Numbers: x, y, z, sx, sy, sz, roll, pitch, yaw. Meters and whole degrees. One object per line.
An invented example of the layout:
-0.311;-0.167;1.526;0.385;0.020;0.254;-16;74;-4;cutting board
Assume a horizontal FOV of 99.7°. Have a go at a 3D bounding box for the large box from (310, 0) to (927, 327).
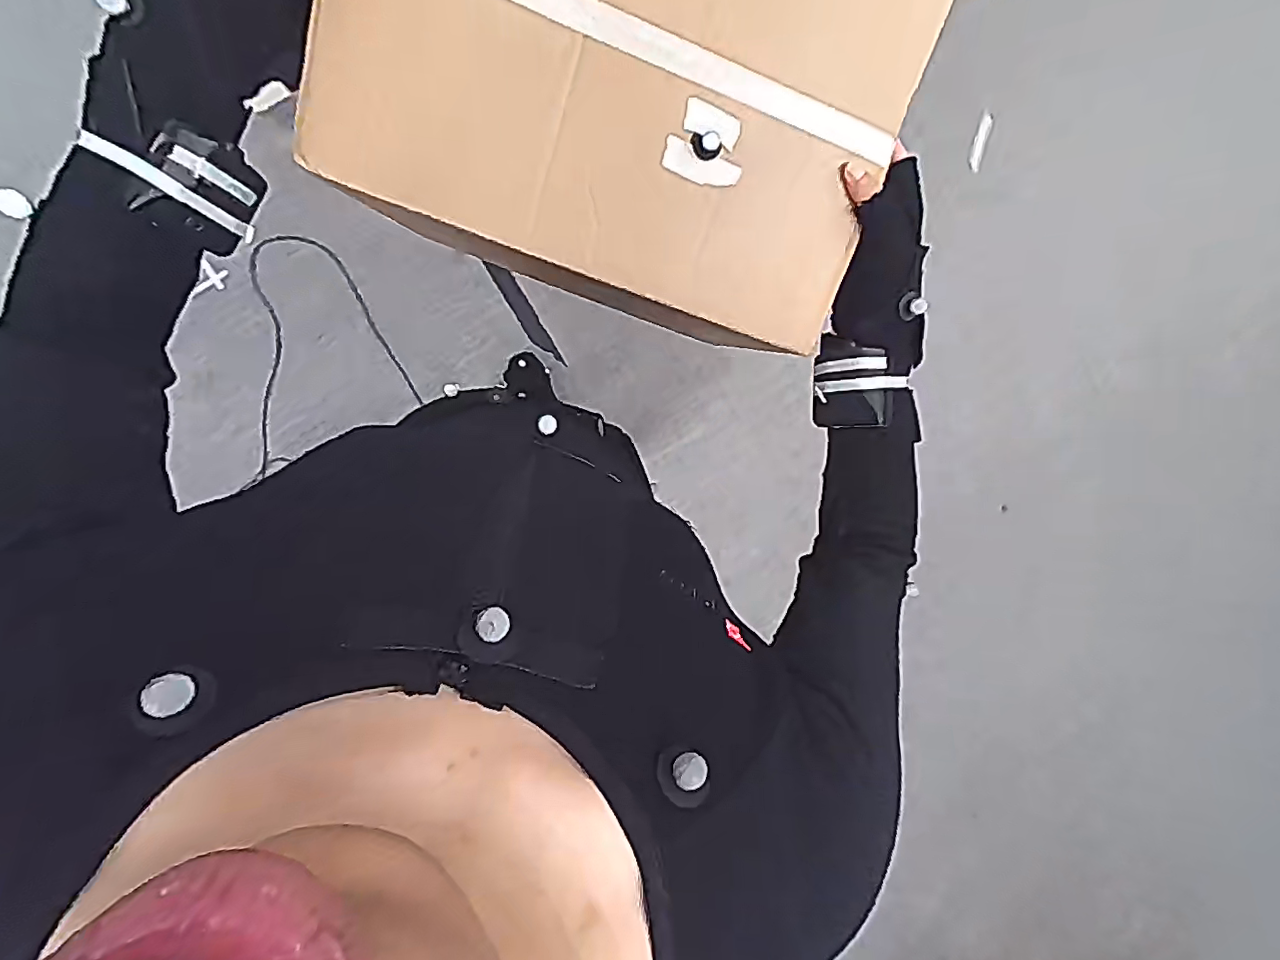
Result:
-0.022;-0.359;0.526;0.408;0.320;0.320;16;104;-11;large box
